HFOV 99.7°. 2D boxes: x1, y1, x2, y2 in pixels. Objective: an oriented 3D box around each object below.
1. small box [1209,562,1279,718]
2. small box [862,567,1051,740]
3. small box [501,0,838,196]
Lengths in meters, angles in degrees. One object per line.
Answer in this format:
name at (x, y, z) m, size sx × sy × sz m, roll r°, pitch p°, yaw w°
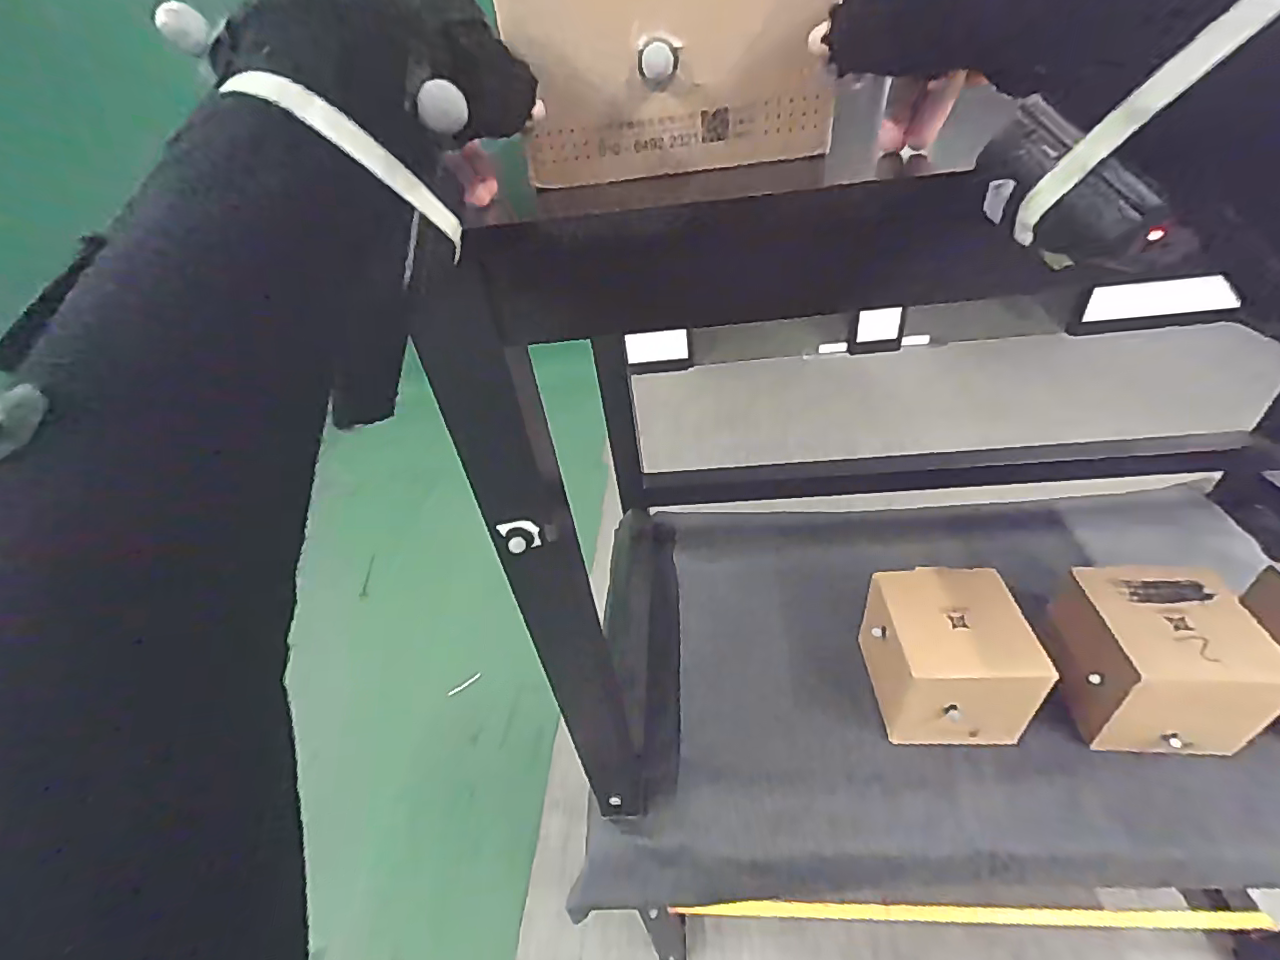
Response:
small box at (0.912, 0.220, 0.687) m, size 0.168 × 0.176 × 0.179 m, roll -4°, pitch 37°, yaw 6°
small box at (0.425, 0.245, 0.762) m, size 0.168 × 0.176 × 0.179 m, roll -3°, pitch 37°, yaw 7°
small box at (0.014, -0.279, 0.319) m, size 0.168 × 0.176 × 0.179 m, roll -5°, pitch 38°, yaw 6°
